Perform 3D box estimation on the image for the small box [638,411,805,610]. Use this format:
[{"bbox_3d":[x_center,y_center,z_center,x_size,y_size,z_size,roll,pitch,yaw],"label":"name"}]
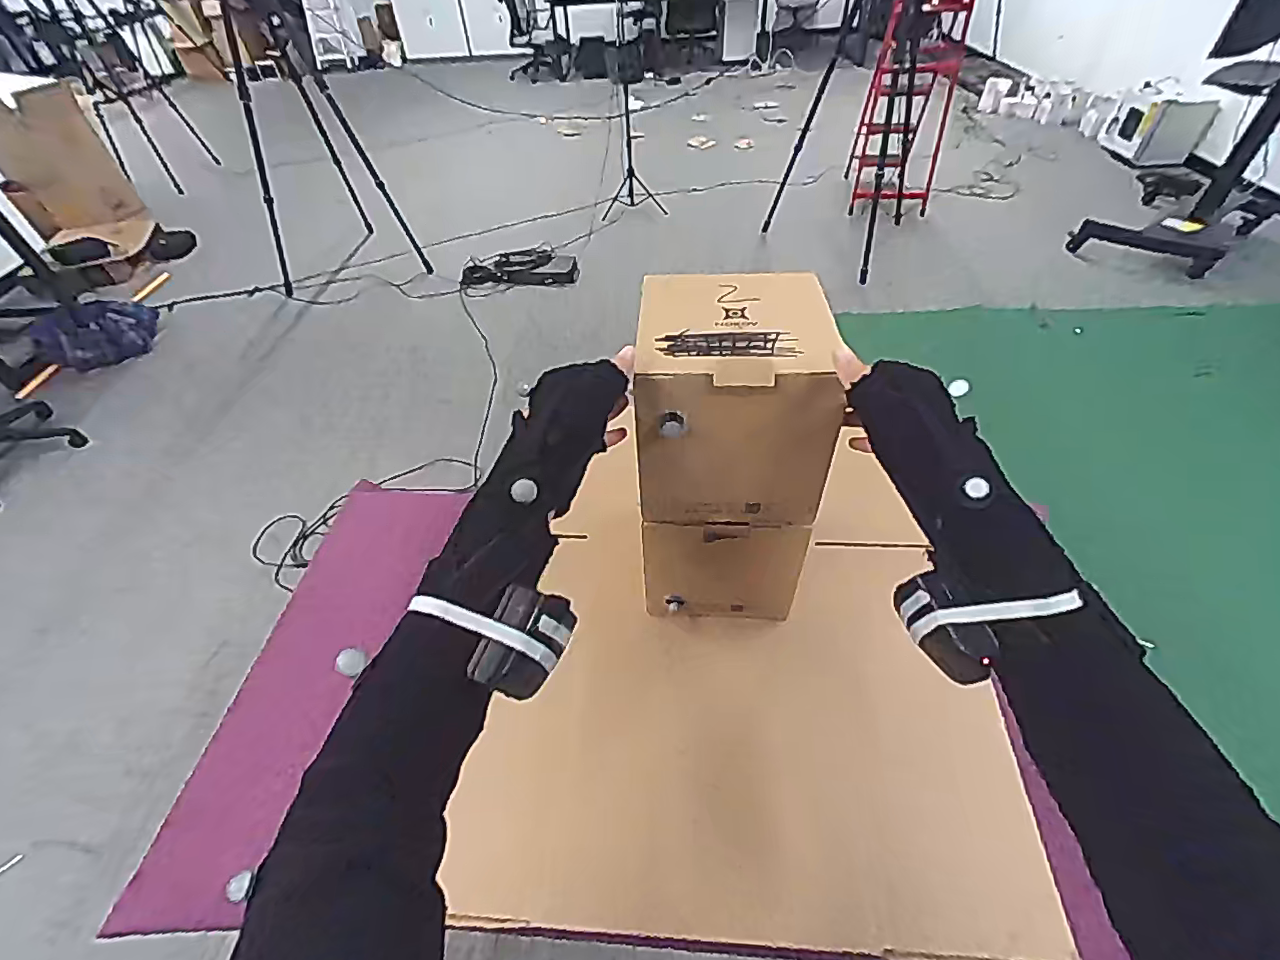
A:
[{"bbox_3d":[0.090,0.037,0.638,0.168,0.176,0.179,1,44,4],"label":"small box"}]
